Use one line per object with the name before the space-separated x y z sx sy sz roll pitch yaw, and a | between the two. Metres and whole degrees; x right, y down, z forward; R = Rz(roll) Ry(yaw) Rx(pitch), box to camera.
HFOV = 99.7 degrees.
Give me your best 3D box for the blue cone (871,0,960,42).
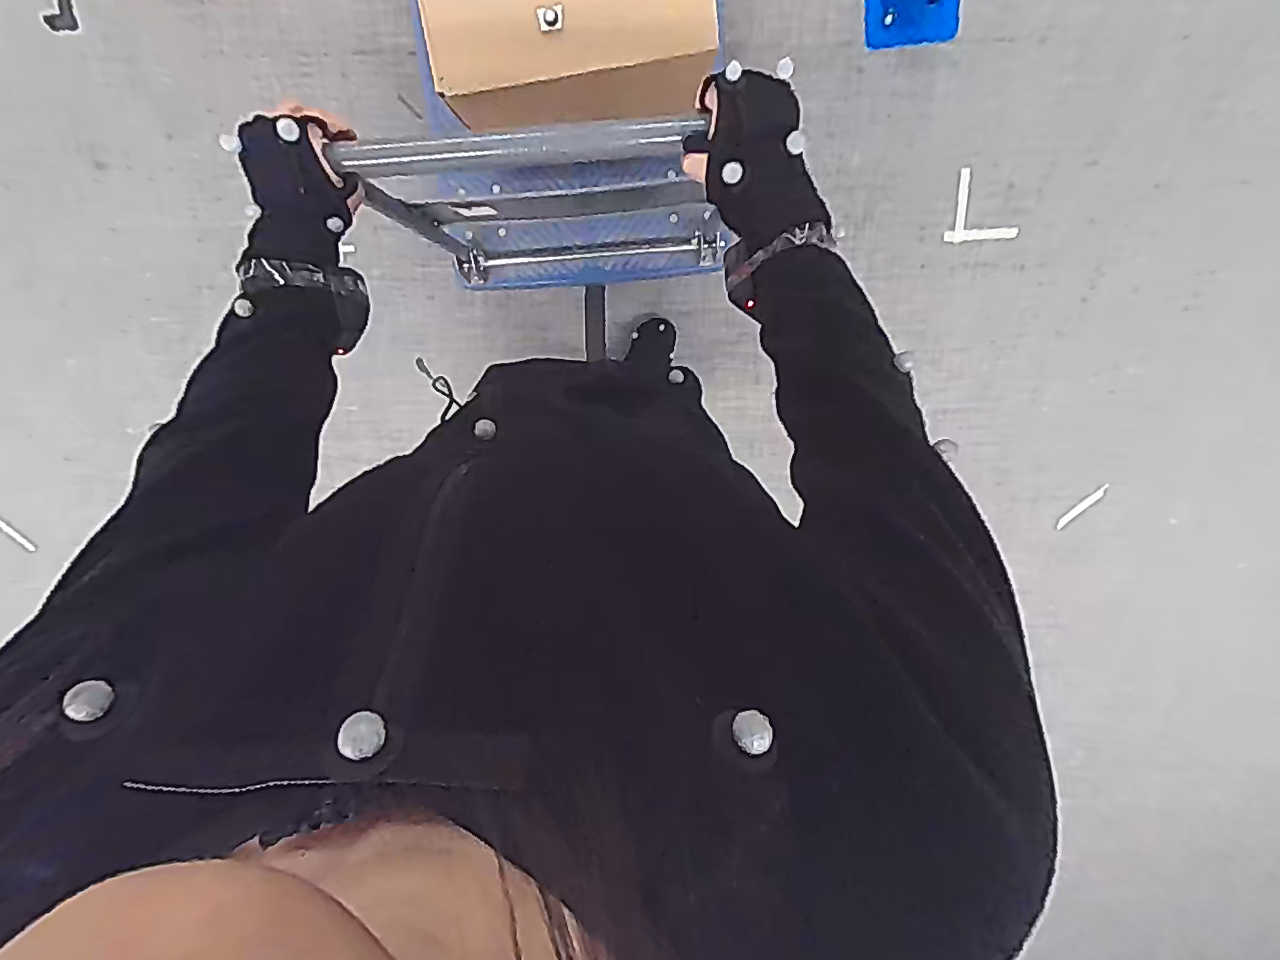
blue cone | 0.581 -0.992 0.977 0.193 0.380 0.192 -4 105 0
